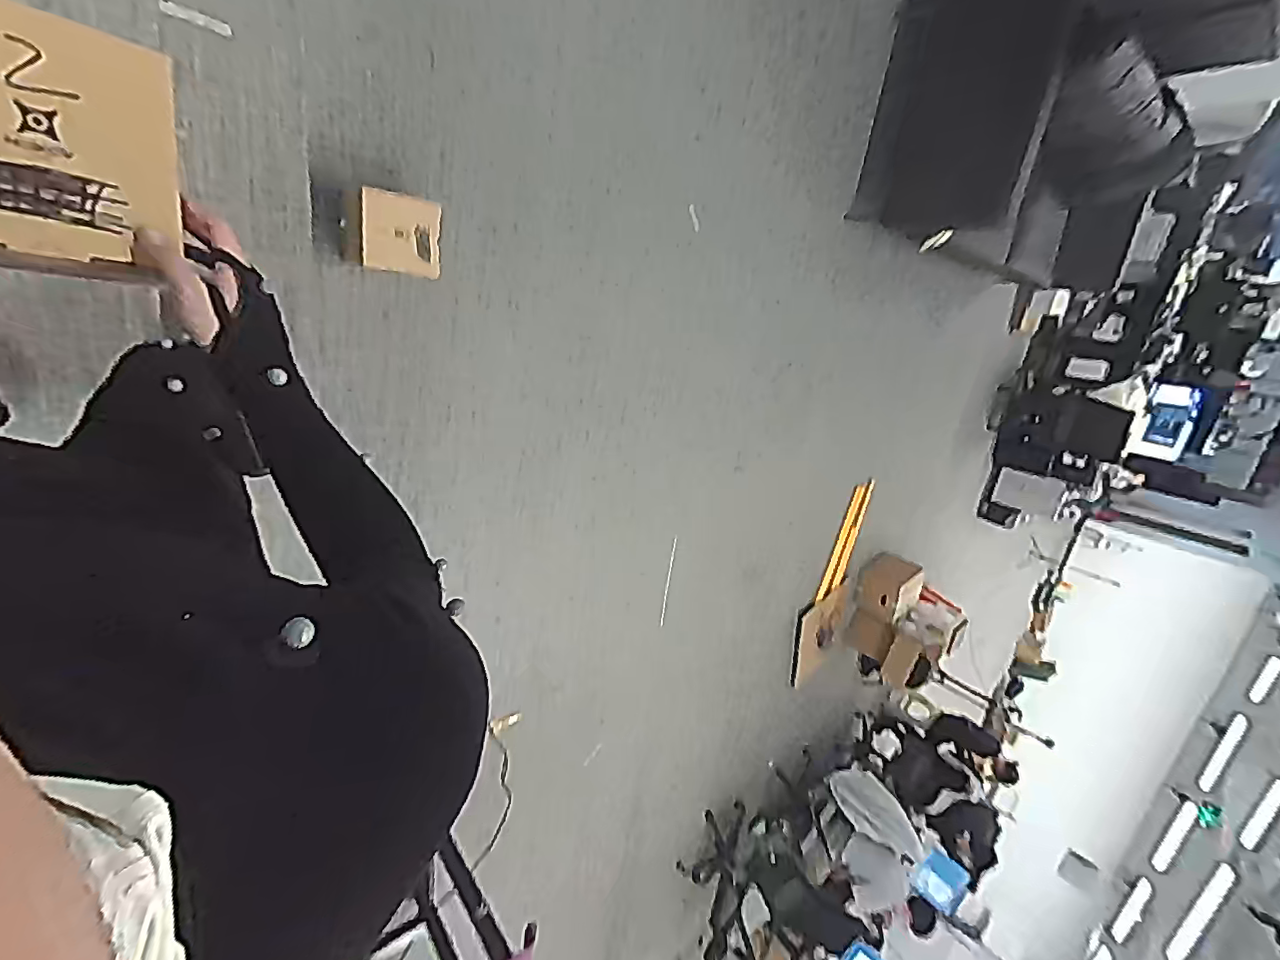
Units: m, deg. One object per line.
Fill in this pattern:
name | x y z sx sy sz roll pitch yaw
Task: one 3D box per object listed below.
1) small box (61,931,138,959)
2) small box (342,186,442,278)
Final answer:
small box | -1.424 1.342 1.405 0.179 0.176 0.168 -4 111 -42
small box | -0.593 -0.586 1.288 0.179 0.176 0.168 -6 112 -40
